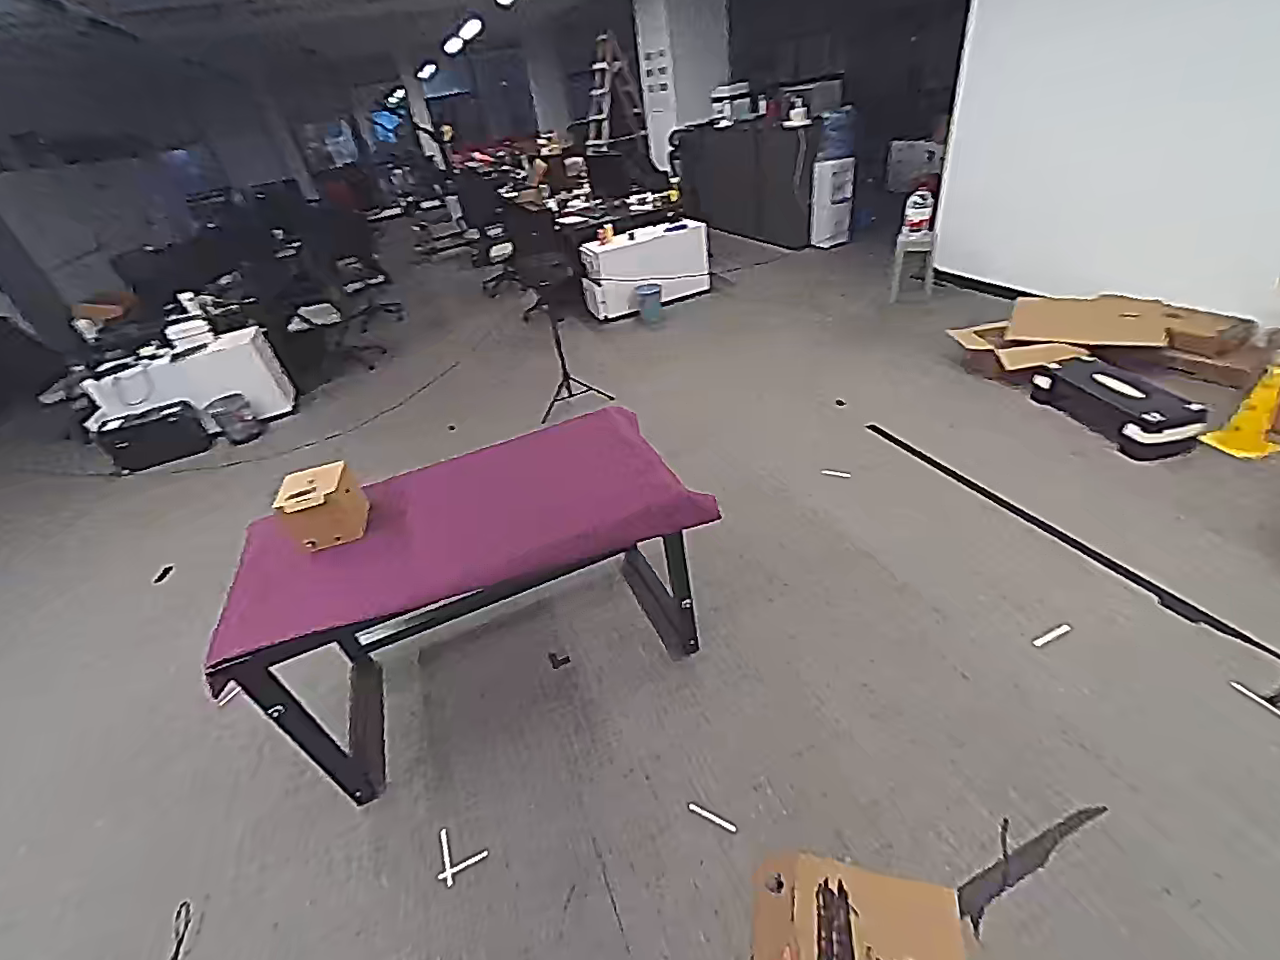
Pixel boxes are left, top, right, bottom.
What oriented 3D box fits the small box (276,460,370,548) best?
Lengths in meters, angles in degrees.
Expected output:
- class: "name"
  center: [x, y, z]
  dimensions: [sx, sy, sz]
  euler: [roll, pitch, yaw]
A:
- class: "small box"
  center: [-0.896, 0.074, 1.550]
  dimensions: [0.168, 0.176, 0.179]
  euler: [-16, 37, -9]
